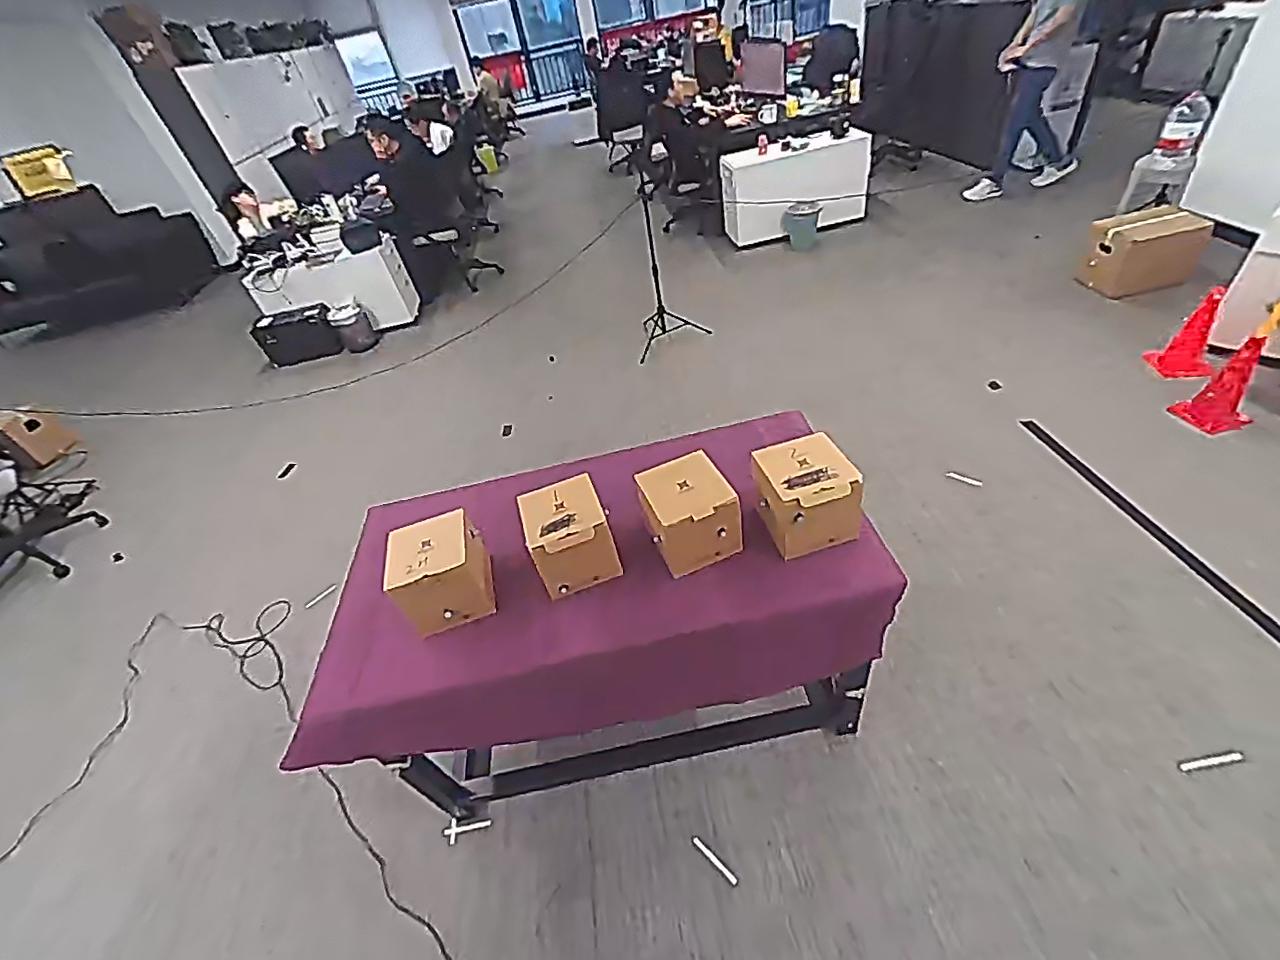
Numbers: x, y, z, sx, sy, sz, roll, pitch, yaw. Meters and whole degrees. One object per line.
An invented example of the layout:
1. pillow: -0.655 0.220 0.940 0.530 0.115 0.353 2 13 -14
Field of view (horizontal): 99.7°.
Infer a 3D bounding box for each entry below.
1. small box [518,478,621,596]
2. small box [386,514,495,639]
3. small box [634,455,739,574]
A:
1. small box: -0.152 0.131 1.184 0.168 0.176 0.179 -20 41 -7
2. small box: -0.424 0.209 1.169 0.168 0.176 0.179 -19 42 -6
3. small box: 0.105 0.080 1.174 0.168 0.176 0.179 -21 41 -9
